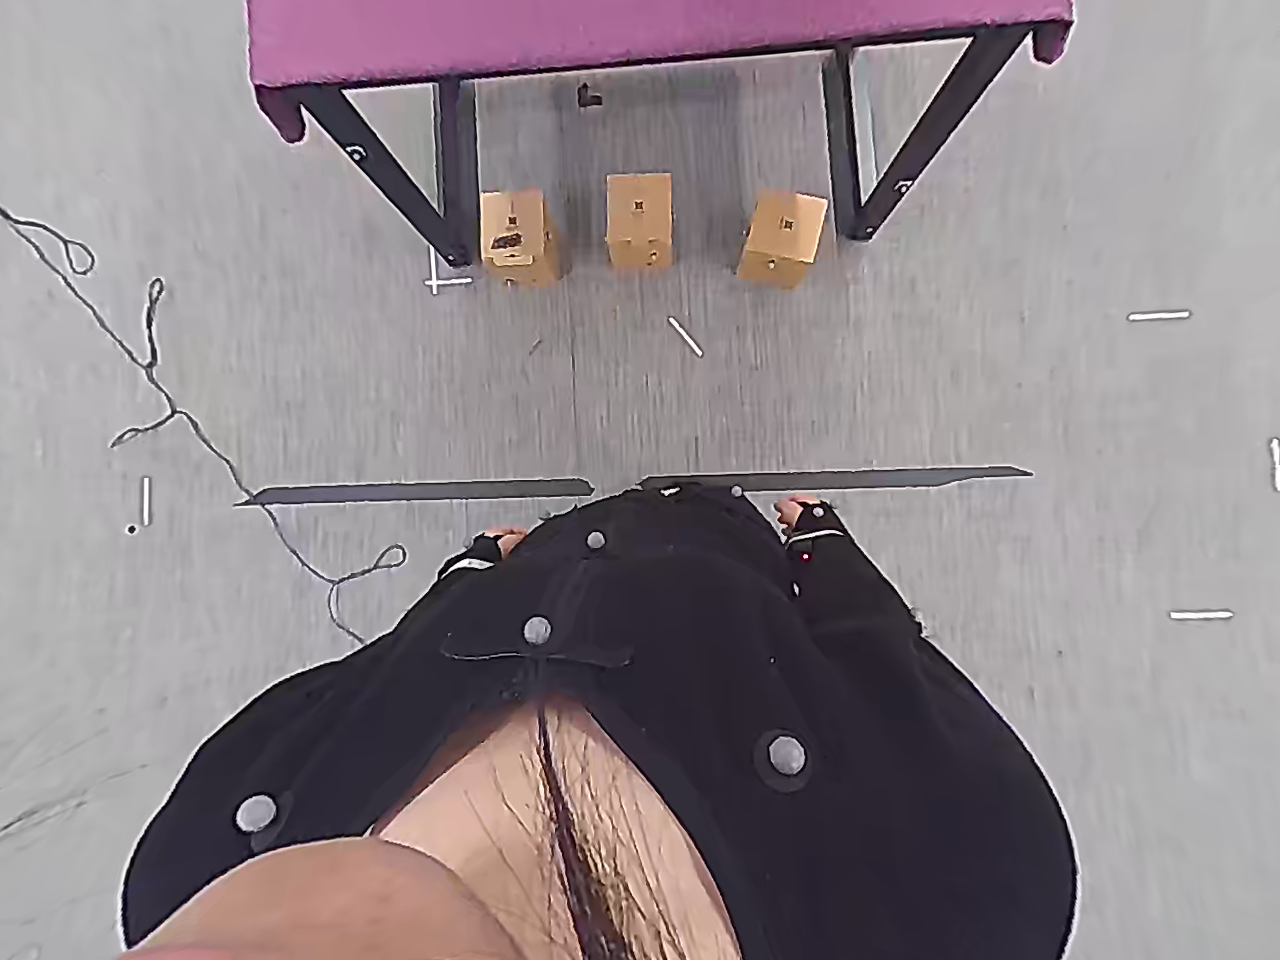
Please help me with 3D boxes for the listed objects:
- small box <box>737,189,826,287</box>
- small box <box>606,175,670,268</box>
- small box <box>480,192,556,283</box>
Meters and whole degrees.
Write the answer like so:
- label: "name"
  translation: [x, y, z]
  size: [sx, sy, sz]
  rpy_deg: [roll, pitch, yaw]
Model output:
- label: "small box"
  translation: [0.367, -0.632, 1.433]
  size: [0.179, 0.176, 0.168]
  rpy_deg: [14, 89, 4]
- label: "small box"
  translation: [-0.002, -0.683, 1.451]
  size: [0.168, 0.176, 0.179]
  rpy_deg: [-1, 87, 2]
- label: "small box"
  translation: [-0.324, -0.646, 1.462]
  size: [0.168, 0.176, 0.179]
  rpy_deg: [-2, 87, 2]
